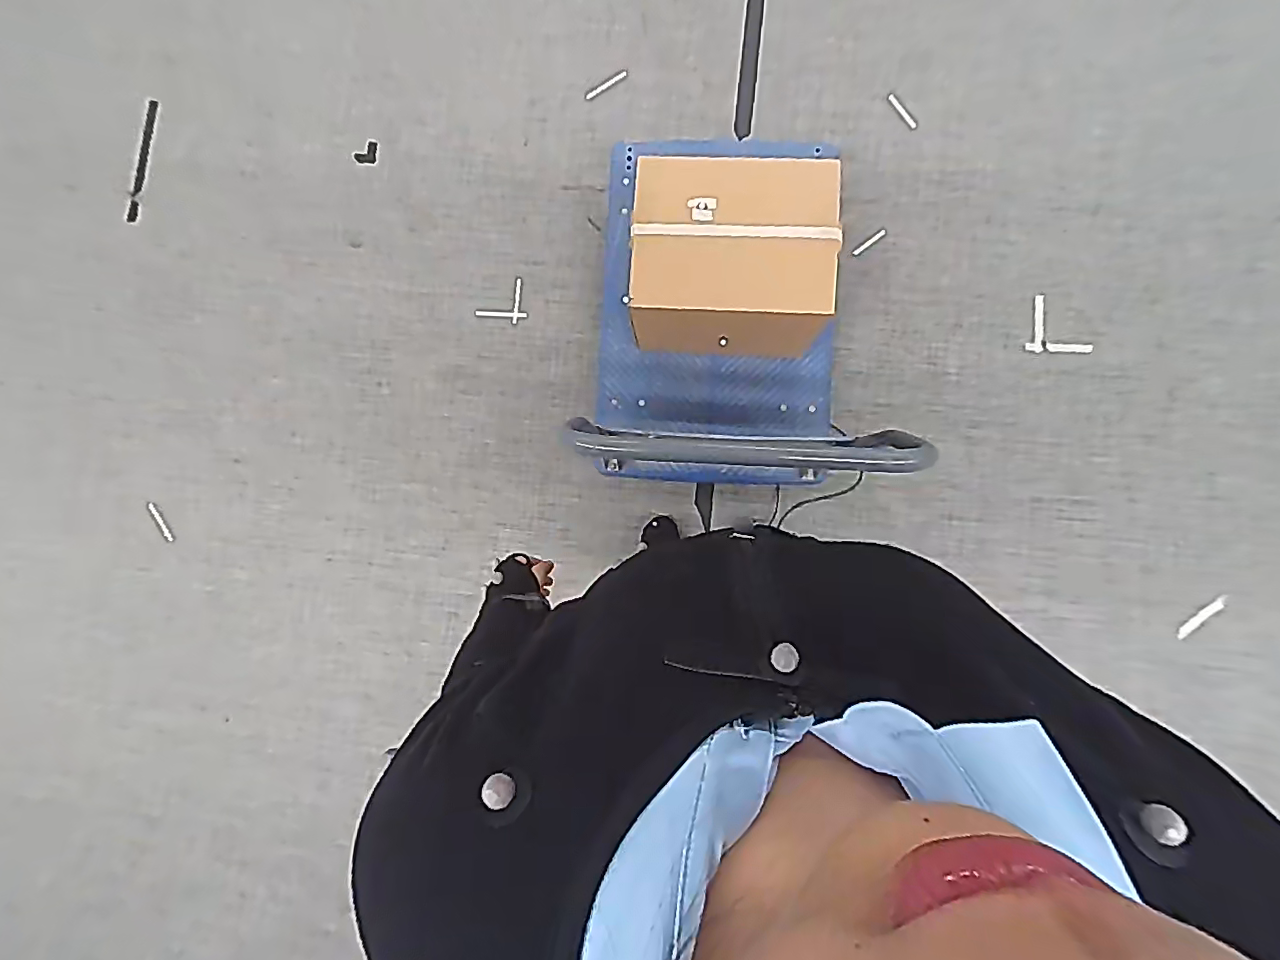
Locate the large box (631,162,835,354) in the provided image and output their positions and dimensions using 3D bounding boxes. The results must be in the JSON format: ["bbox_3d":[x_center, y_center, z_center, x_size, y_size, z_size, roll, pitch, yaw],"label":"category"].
[{"bbox_3d":[0.200,-0.479,1.230,0.408,0.320,0.320,3,86,5],"label":"large box"}]
